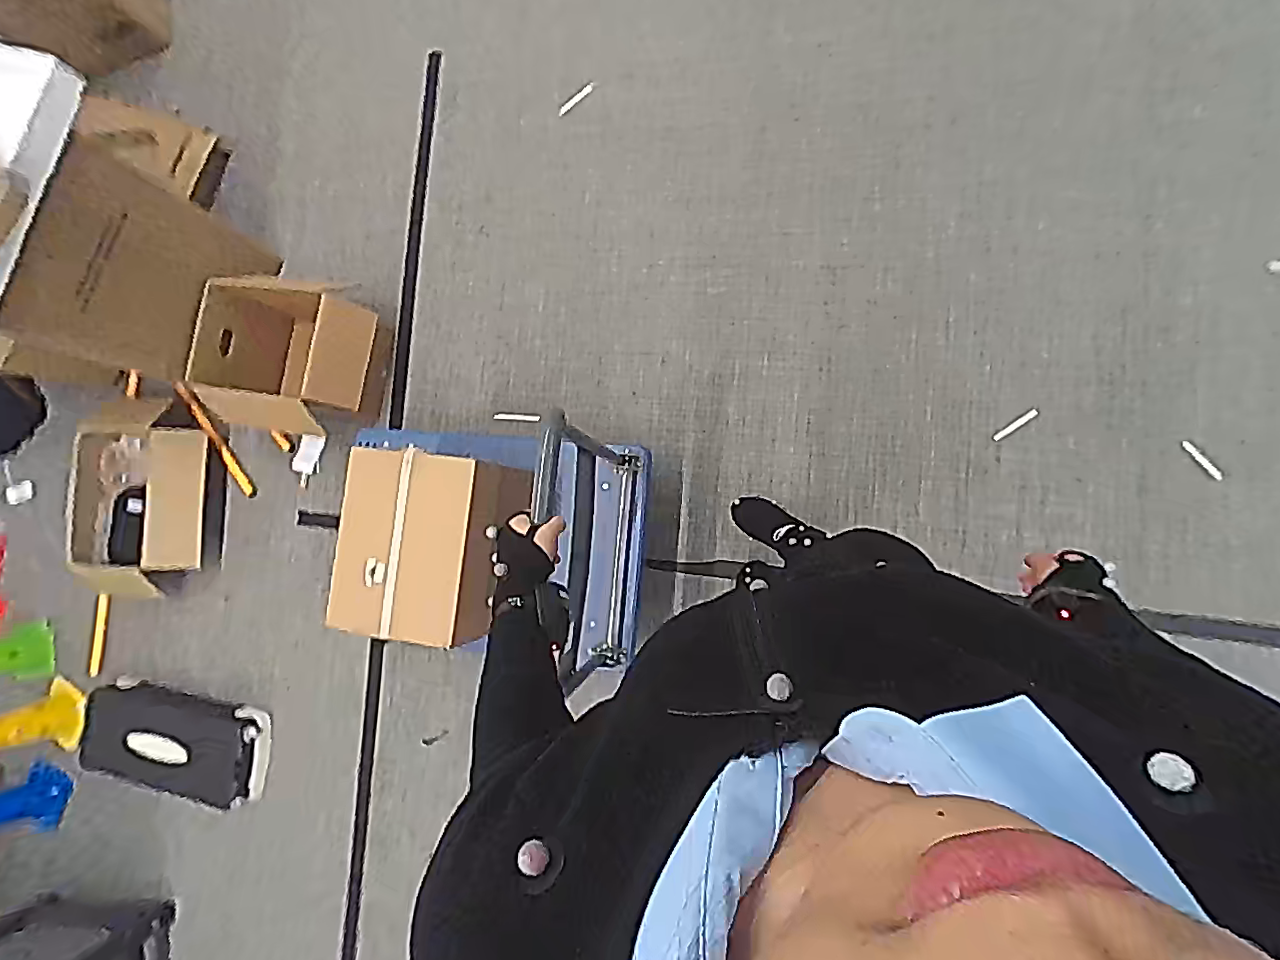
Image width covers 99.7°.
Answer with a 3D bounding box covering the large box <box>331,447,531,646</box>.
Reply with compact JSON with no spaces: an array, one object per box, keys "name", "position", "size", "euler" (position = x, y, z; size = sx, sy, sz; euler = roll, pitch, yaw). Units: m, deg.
[{"name":"large box","position":[-0.479,0.142,1.300],"size":[0.320,0.320,0.408],"euler":[6,88,14]}]
